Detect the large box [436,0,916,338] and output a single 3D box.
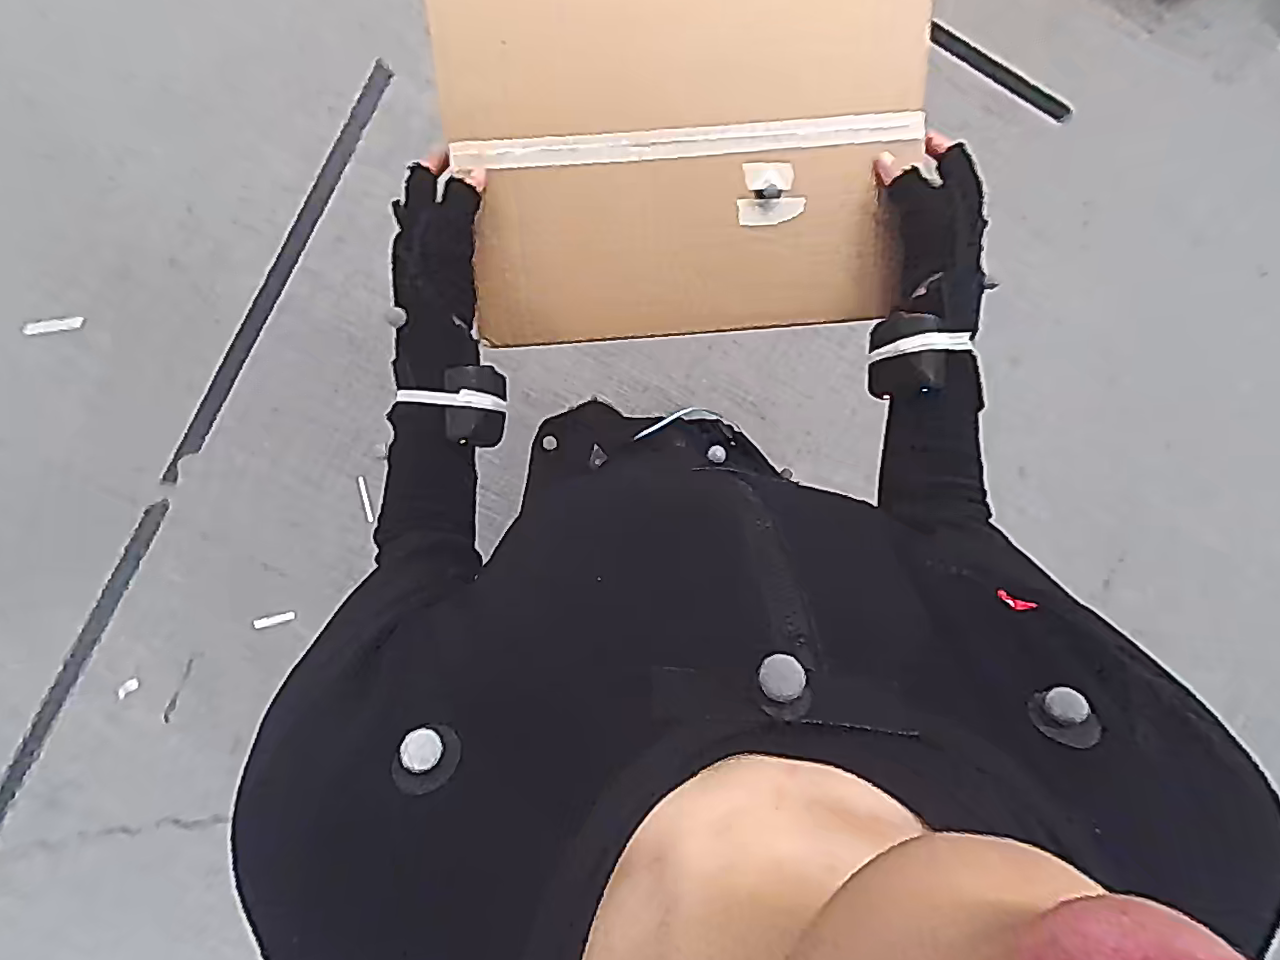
[{"bbox_3d":[0.031,-0.345,0.616,0.408,0.320,0.320,-5,109,-3],"label":"large box"}]
